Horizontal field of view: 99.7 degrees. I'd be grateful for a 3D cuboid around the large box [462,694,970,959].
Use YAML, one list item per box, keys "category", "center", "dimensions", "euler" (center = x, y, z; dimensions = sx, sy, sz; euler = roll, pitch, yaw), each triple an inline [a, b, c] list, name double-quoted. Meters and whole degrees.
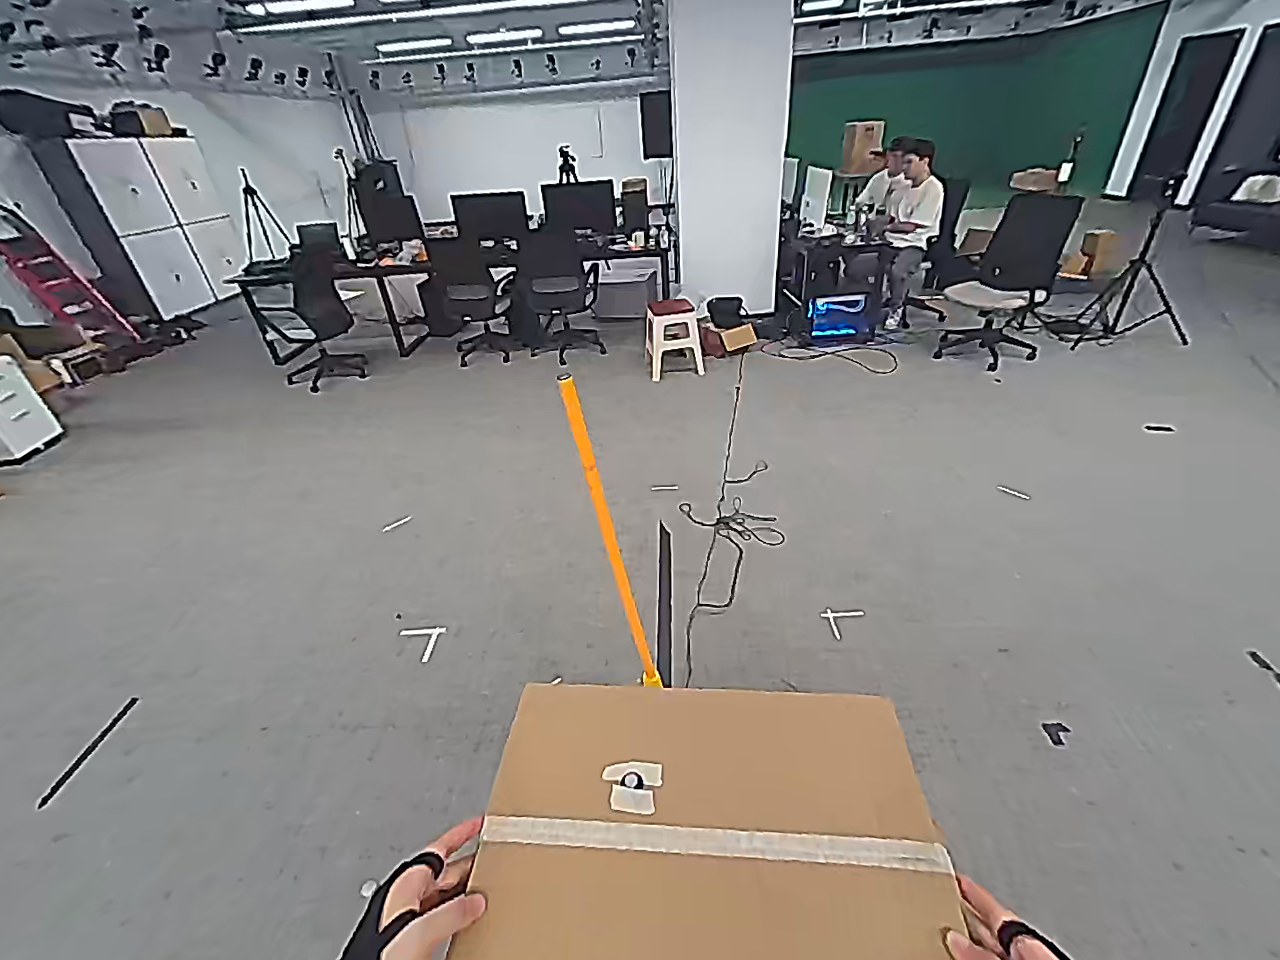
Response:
- category: "large box"
  center: [0.072, 0.454, 0.573]
  dimensions: [0.408, 0.320, 0.320]
  euler: [-2, 32, 6]
